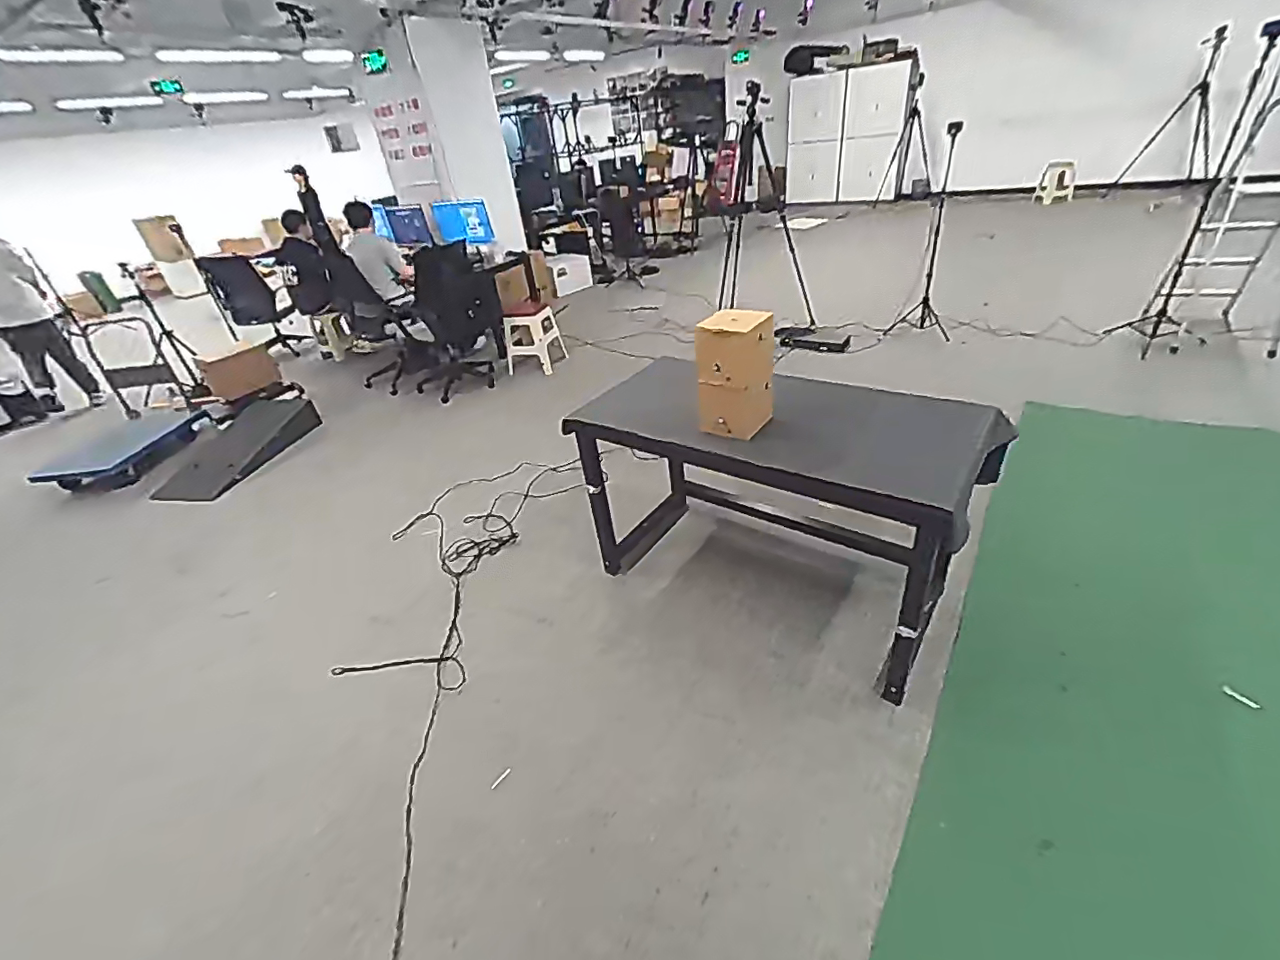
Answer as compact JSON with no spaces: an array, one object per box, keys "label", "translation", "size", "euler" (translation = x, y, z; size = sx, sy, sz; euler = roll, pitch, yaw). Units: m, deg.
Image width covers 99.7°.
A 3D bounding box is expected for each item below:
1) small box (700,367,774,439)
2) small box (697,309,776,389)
[{"label":"small box","translation":[0.296,-0.246,1.648],"size":[0.168,0.176,0.179],"euler":[15,39,33]},{"label":"small box","translation":[0.278,-0.381,1.561],"size":[0.168,0.176,0.179],"euler":[16,40,32]}]
